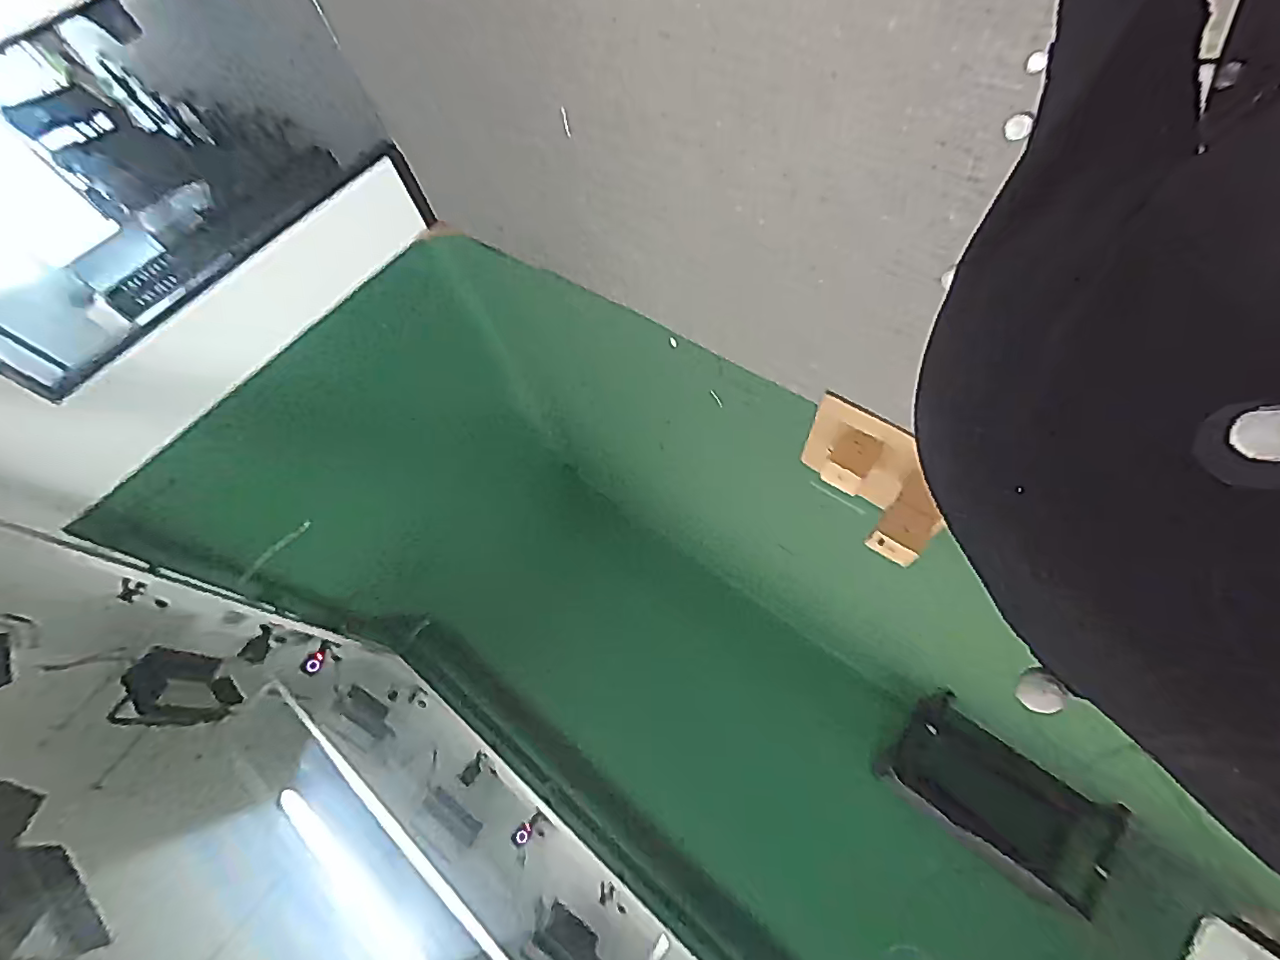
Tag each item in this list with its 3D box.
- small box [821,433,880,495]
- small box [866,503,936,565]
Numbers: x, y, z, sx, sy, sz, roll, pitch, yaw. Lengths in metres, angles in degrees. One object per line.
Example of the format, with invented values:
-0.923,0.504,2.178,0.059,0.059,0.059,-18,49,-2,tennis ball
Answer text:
0.919,-0.072,2.354,0.168,0.176,0.179,33,161,21,small box
1.062,0.214,2.202,0.179,0.176,0.168,32,161,16,small box
